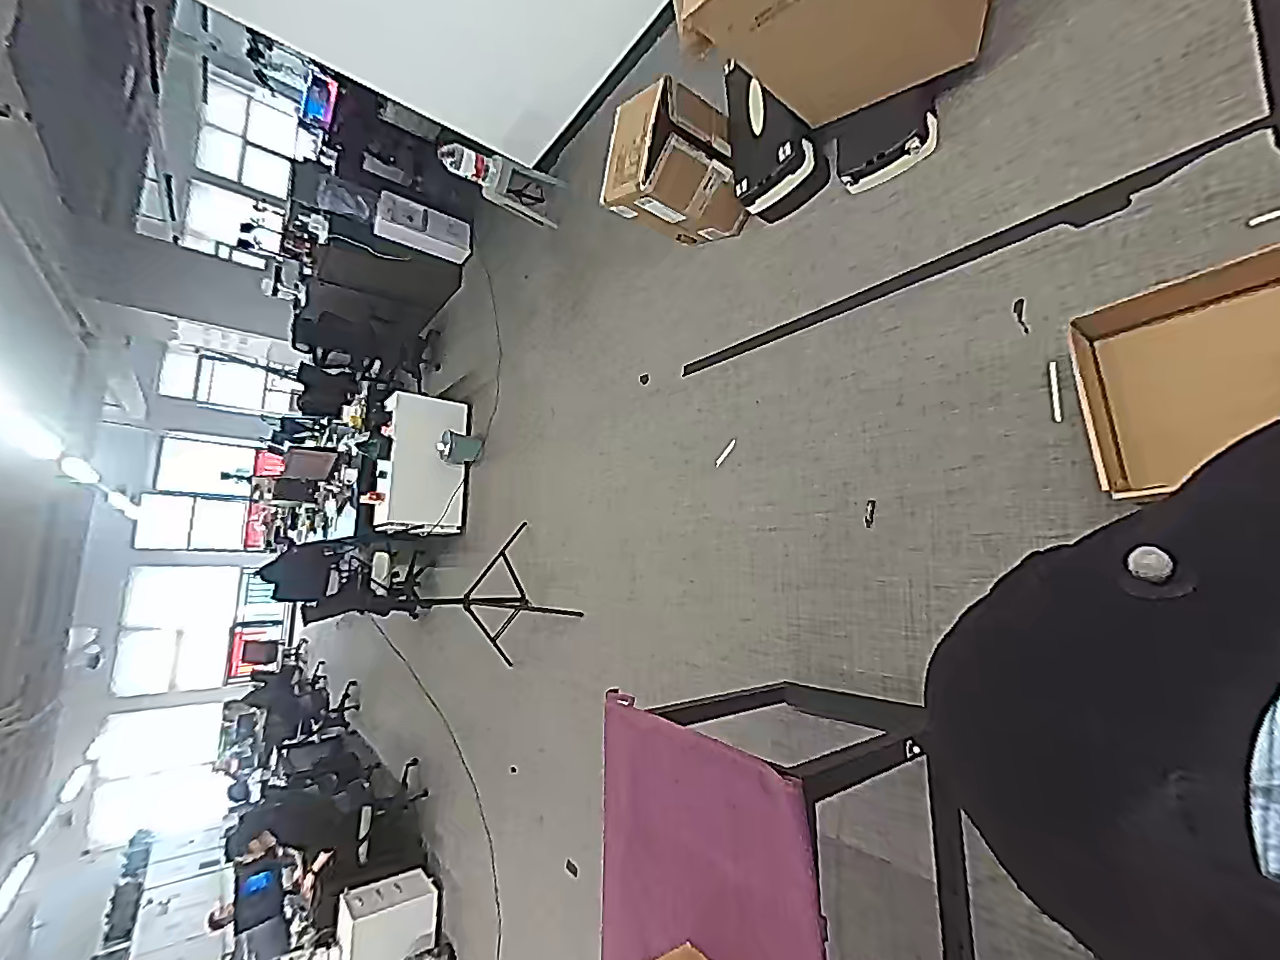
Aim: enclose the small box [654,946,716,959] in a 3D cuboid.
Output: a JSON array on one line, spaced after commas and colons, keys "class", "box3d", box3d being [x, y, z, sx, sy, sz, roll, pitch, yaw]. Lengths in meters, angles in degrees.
[{"class": "small box", "box3d": [0.089, 0.998, 0.978, 0.179, 0.176, 0.168, -10, 76, 52]}]
